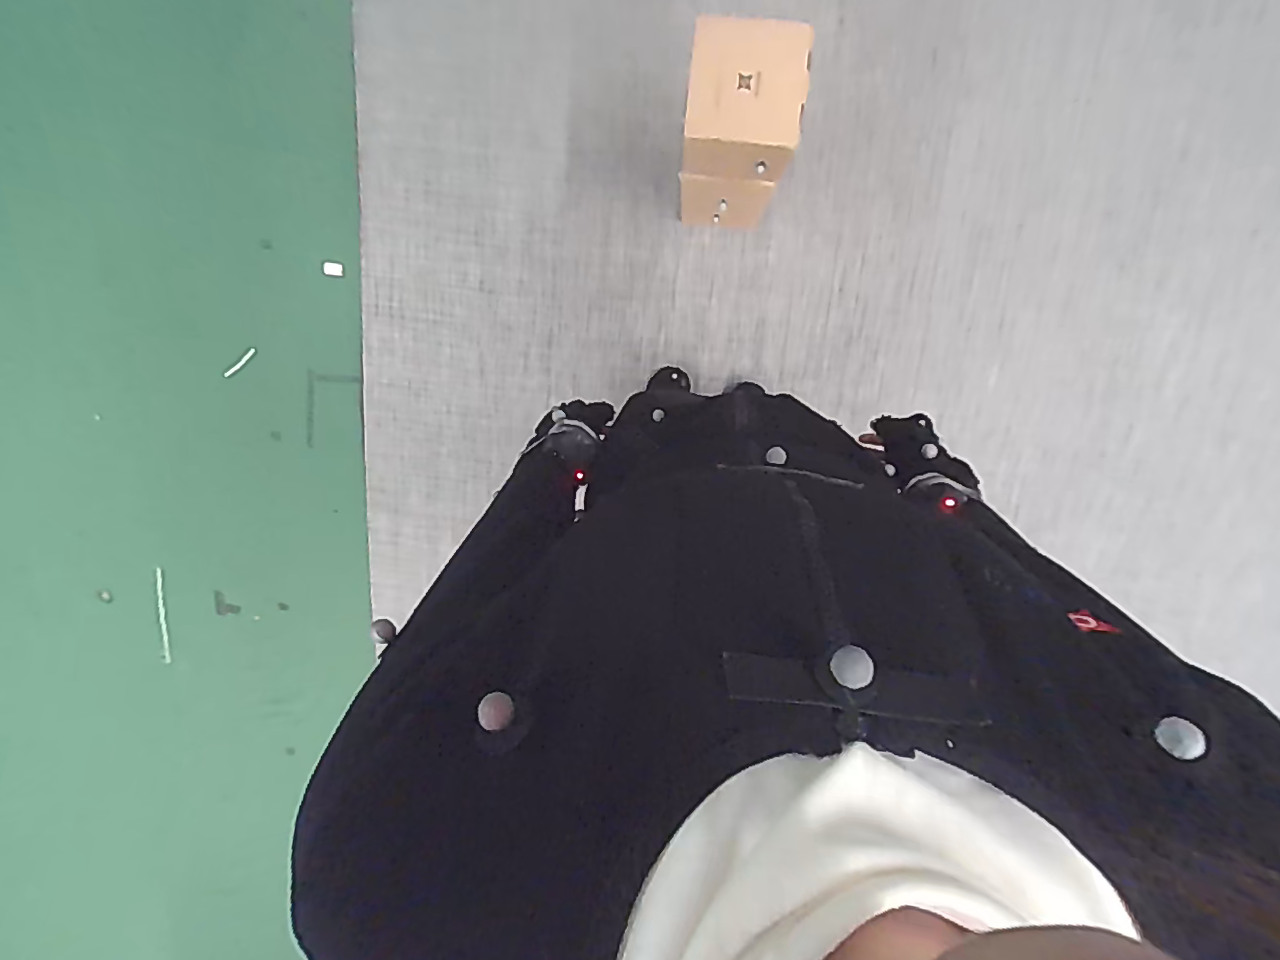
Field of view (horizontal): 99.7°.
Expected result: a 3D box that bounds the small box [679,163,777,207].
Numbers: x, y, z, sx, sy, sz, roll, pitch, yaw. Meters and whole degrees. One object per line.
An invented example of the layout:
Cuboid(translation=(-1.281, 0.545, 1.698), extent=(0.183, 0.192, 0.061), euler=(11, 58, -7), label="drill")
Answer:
Cuboid(translation=(0.174, -0.643, 1.048), extent=(0.179, 0.176, 0.168), euler=(8, 103, 2), label="small box")

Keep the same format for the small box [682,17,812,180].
Cuboid(translation=(0.164, -0.612, 0.888), extent=(0.179, 0.176, 0.168), euler=(6, 102, 4), label="small box")

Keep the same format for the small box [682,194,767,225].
Cuboid(translation=(0.188, -0.677, 1.206), extent=(0.179, 0.176, 0.168), euler=(3, 103, 3), label="small box")
